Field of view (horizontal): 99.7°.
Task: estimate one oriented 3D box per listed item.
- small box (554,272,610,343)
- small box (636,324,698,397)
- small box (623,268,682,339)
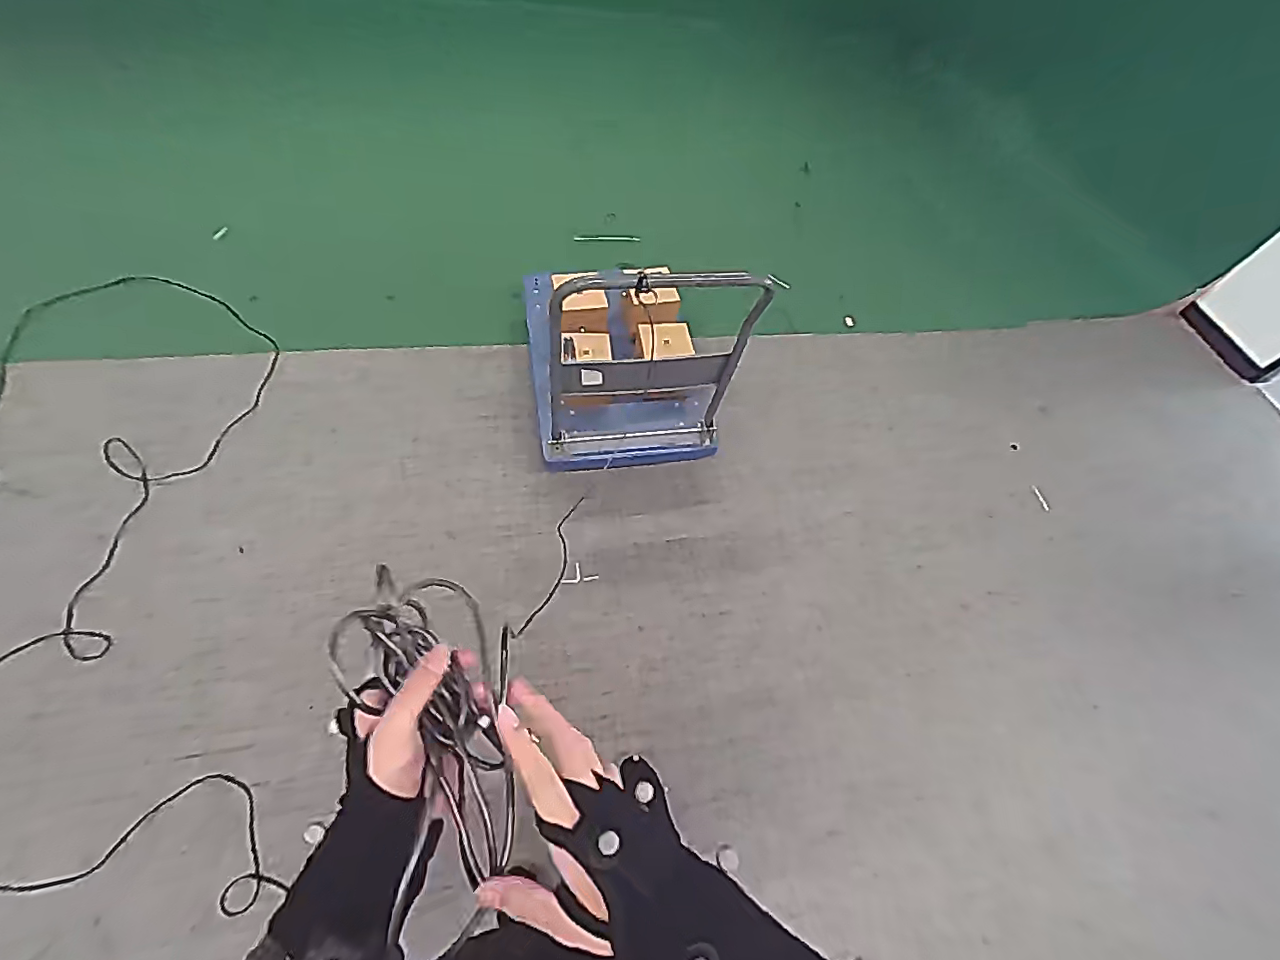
[{"bbox_3d":[-0.204,-0.593,1.881,0.168,0.176,0.179,-8,61,-13],"label":"small box"},{"bbox_3d":[0.084,-0.399,1.805,0.168,0.176,0.179,-4,61,-10],"label":"small box"},{"bbox_3d":[0.039,-0.631,1.935,0.168,0.176,0.179,-9,62,-12],"label":"small box"}]
